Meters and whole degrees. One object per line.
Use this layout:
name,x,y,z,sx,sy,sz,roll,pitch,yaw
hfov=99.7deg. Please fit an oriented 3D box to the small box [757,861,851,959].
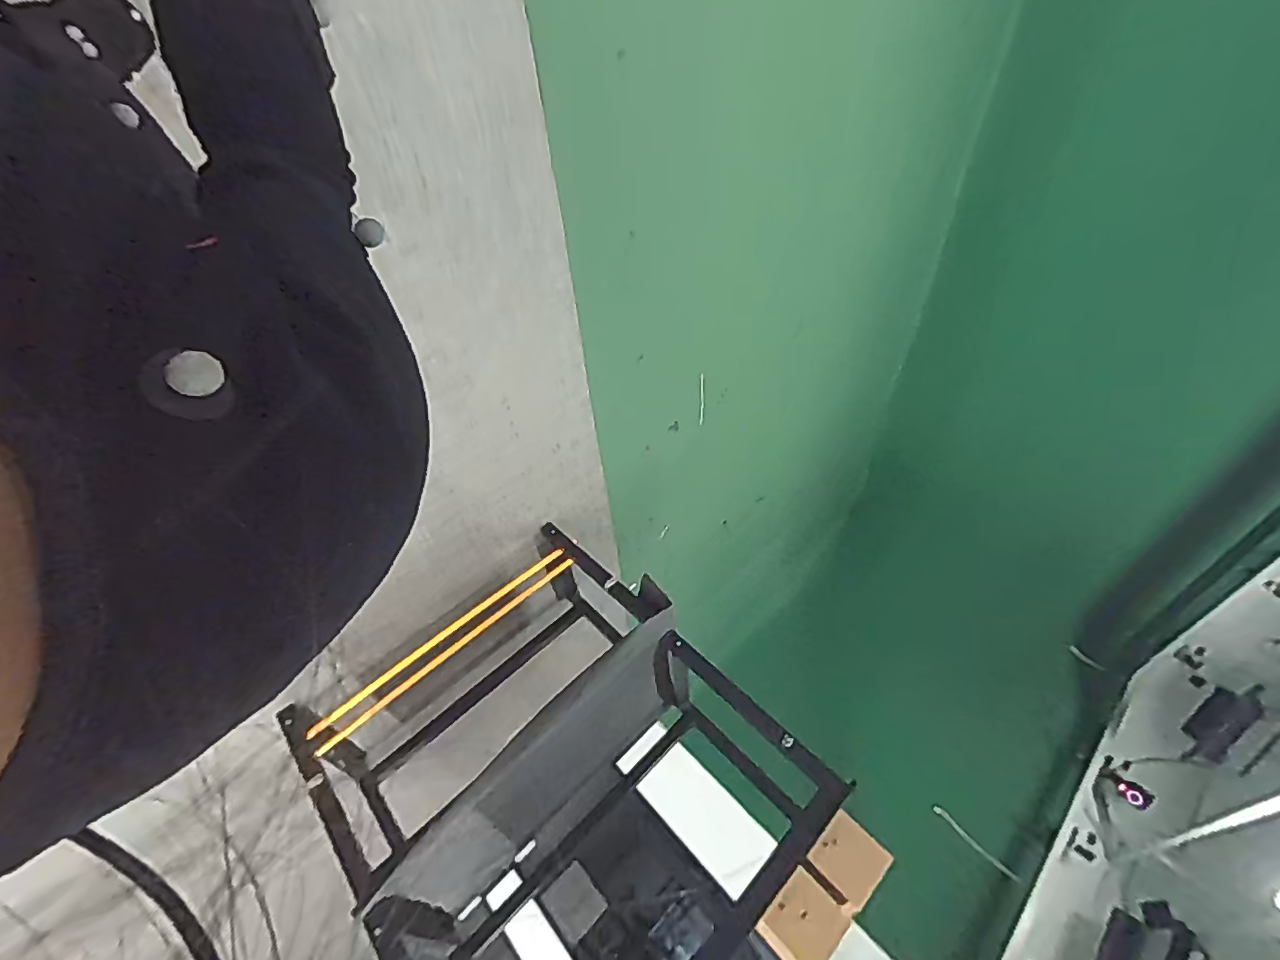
small box,0.430,1.166,1.443,0.168,0.176,0.179,-35,142,-26
